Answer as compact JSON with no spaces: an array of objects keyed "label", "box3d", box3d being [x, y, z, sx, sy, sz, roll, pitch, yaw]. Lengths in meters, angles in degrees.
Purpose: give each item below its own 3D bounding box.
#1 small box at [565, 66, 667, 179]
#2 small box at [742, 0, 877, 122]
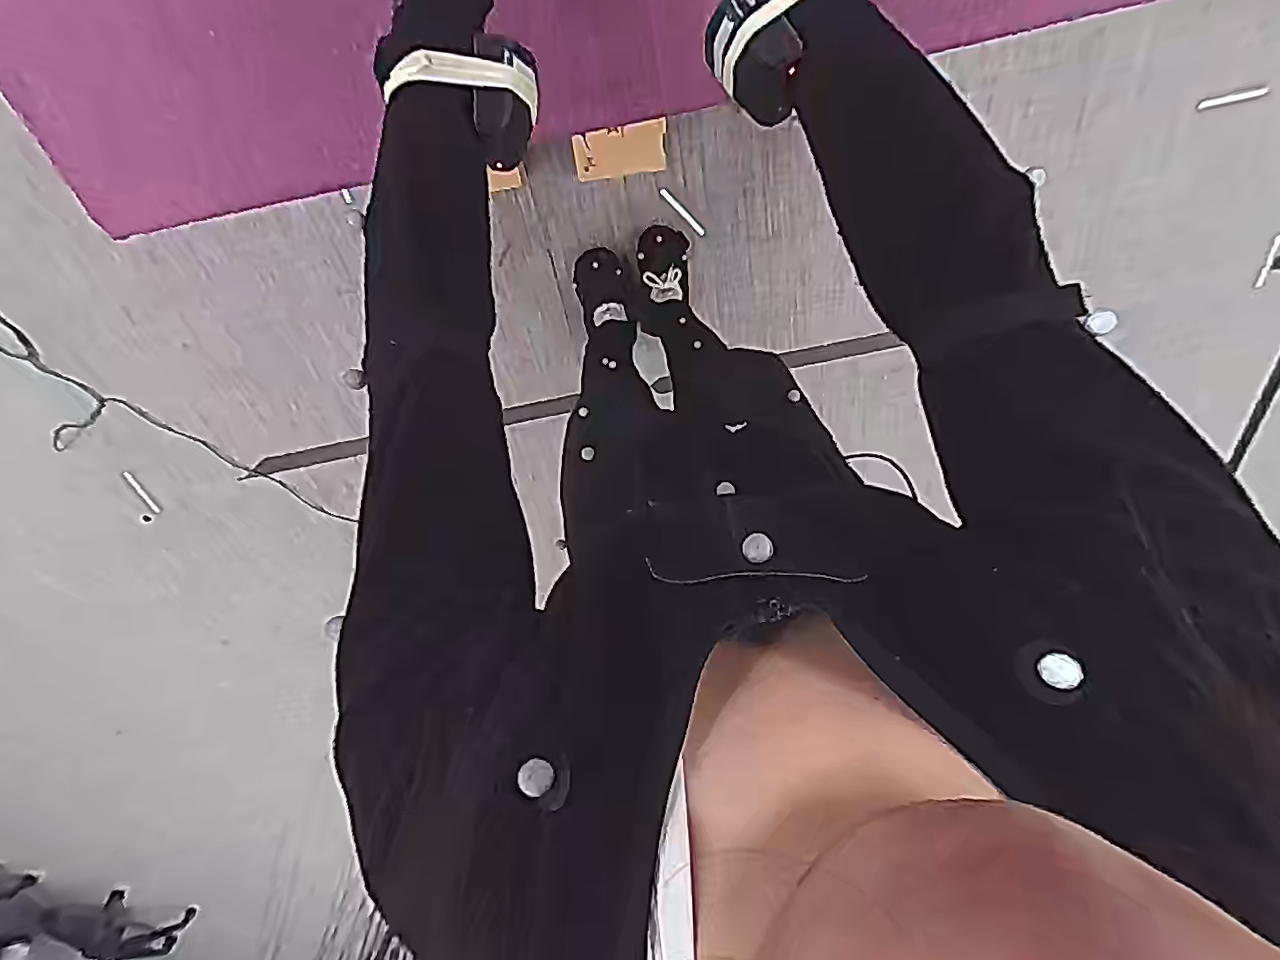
[{"label":"small box","box3d":[-0.051,-0.705,1.069,0.179,0.176,0.168,-8,124,-1]},{"label":"small box","box3d":[0.315,-0.805,1.046,0.179,0.176,0.168,3,124,-7]}]
